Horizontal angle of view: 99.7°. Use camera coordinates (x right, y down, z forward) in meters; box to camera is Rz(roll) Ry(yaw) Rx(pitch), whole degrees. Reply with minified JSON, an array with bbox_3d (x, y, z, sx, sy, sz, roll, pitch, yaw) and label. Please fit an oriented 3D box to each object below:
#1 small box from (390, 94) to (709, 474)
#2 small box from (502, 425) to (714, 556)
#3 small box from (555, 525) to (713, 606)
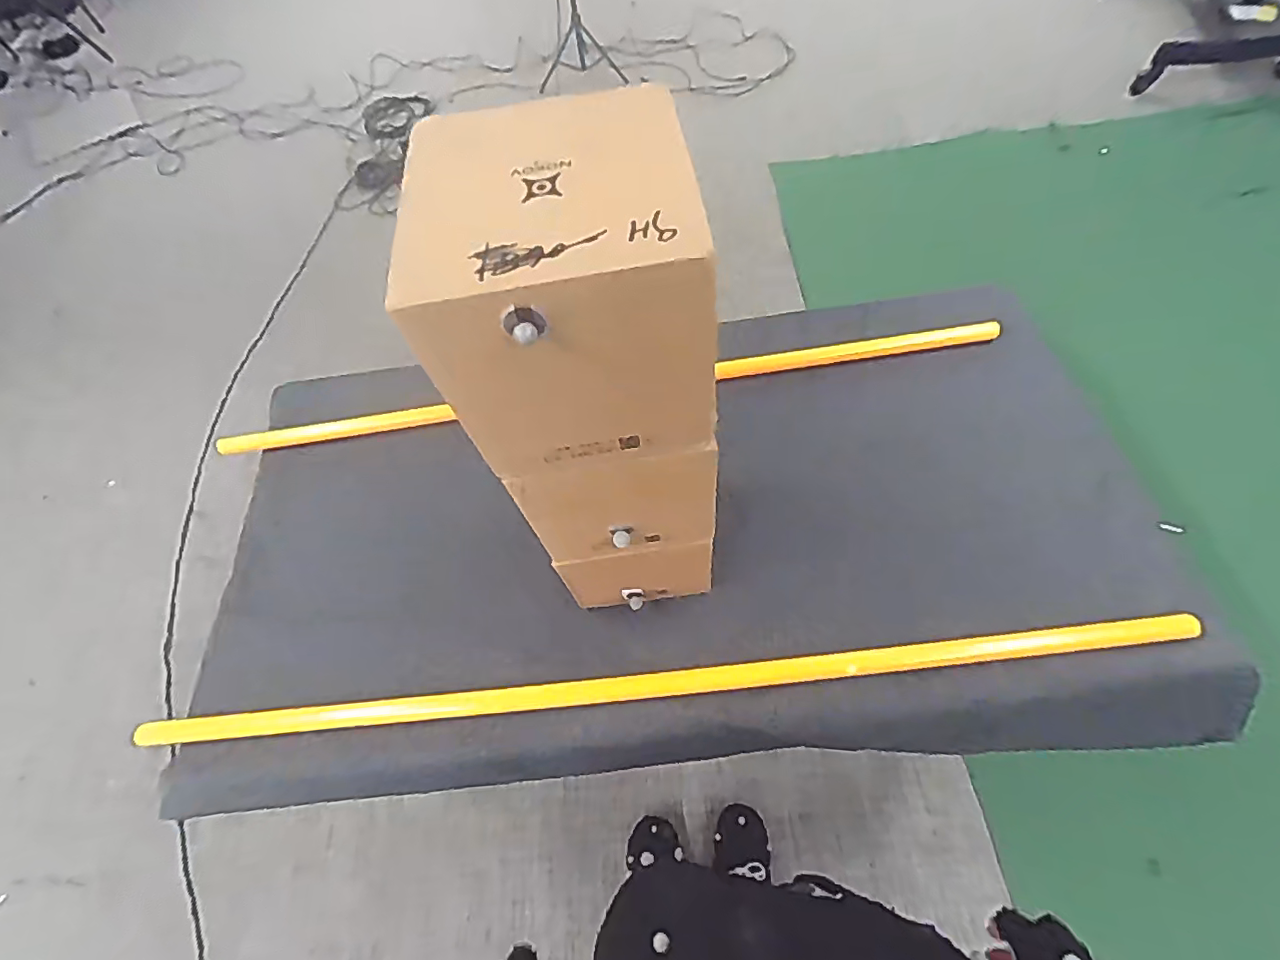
[{"bbox_3d":[-0.046,-0.128,0.382,0.168,0.176,0.179,-9,59,3],"label":"small box"},{"bbox_3d":[-0.025,-0.046,0.522,0.168,0.176,0.179,-9,60,3],"label":"small box"},{"bbox_3d":[-0.009,0.038,0.663,0.168,0.176,0.179,-10,61,2],"label":"small box"}]
